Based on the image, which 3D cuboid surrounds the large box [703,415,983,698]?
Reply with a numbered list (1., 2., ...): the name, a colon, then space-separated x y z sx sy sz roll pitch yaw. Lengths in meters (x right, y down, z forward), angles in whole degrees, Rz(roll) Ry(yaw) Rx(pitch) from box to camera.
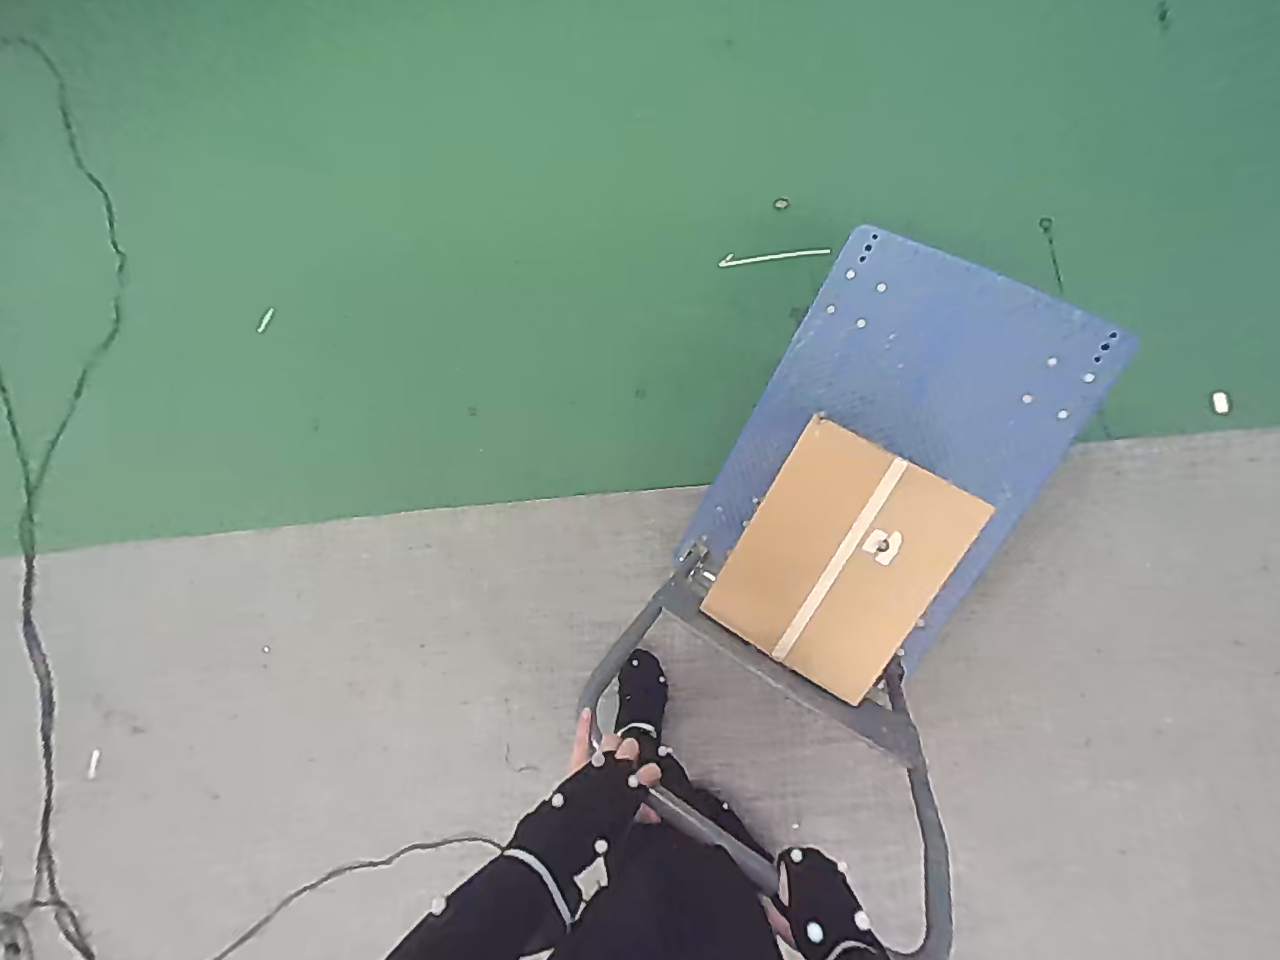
1. large box: 0.372 0.125 1.068 0.320 0.320 0.408 31 102 12
